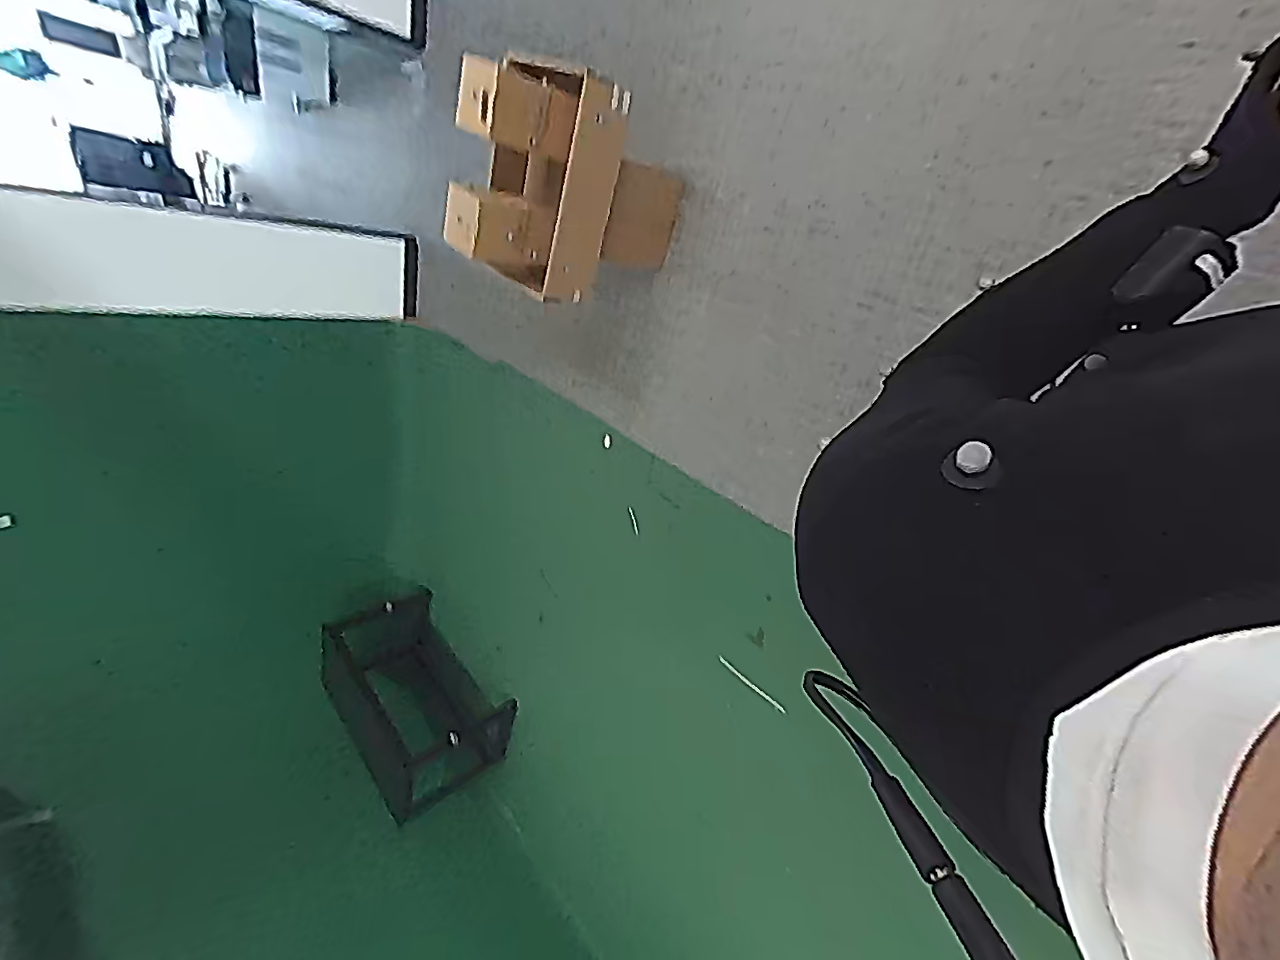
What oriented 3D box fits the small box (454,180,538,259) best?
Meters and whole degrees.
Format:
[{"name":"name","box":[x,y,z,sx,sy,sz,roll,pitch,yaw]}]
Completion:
[{"name":"small box","box":[-0.440,-0.787,1.648,0.179,0.176,0.168,40,127,30]}]

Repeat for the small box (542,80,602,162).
[{"name":"small box","box":[-0.245,-1.075,1.618,0.179,0.176,0.168,38,124,30]}]

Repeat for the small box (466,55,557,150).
[{"name":"small box","box":[-0.353,-1.040,1.499,0.179,0.176,0.168,39,125,30]}]
